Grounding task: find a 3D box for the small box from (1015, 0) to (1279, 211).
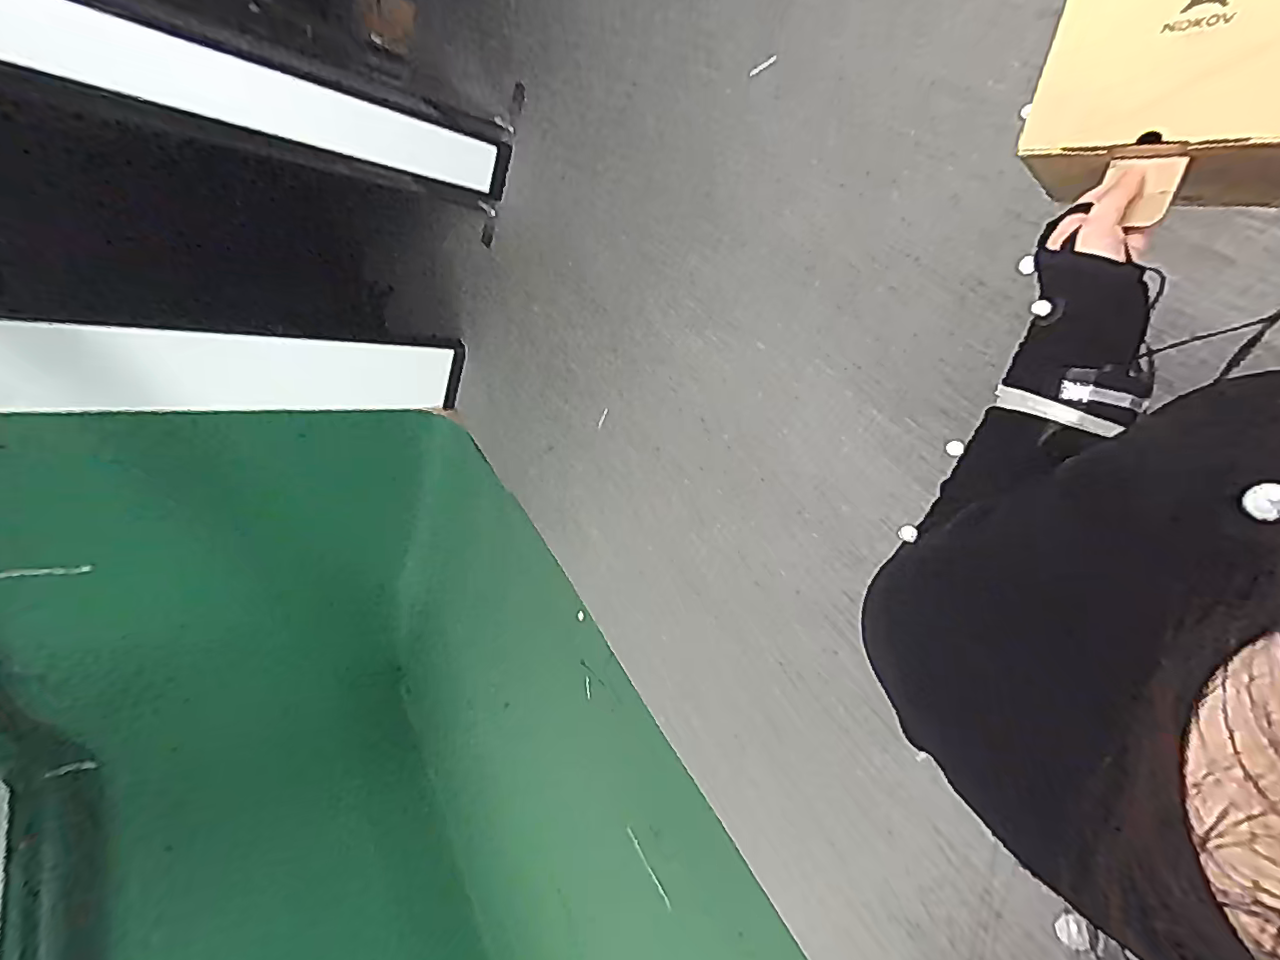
[{"bbox_3d":[0.433,-0.327,0.423,0.168,0.176,0.179,26,115,40],"label":"small box"}]
